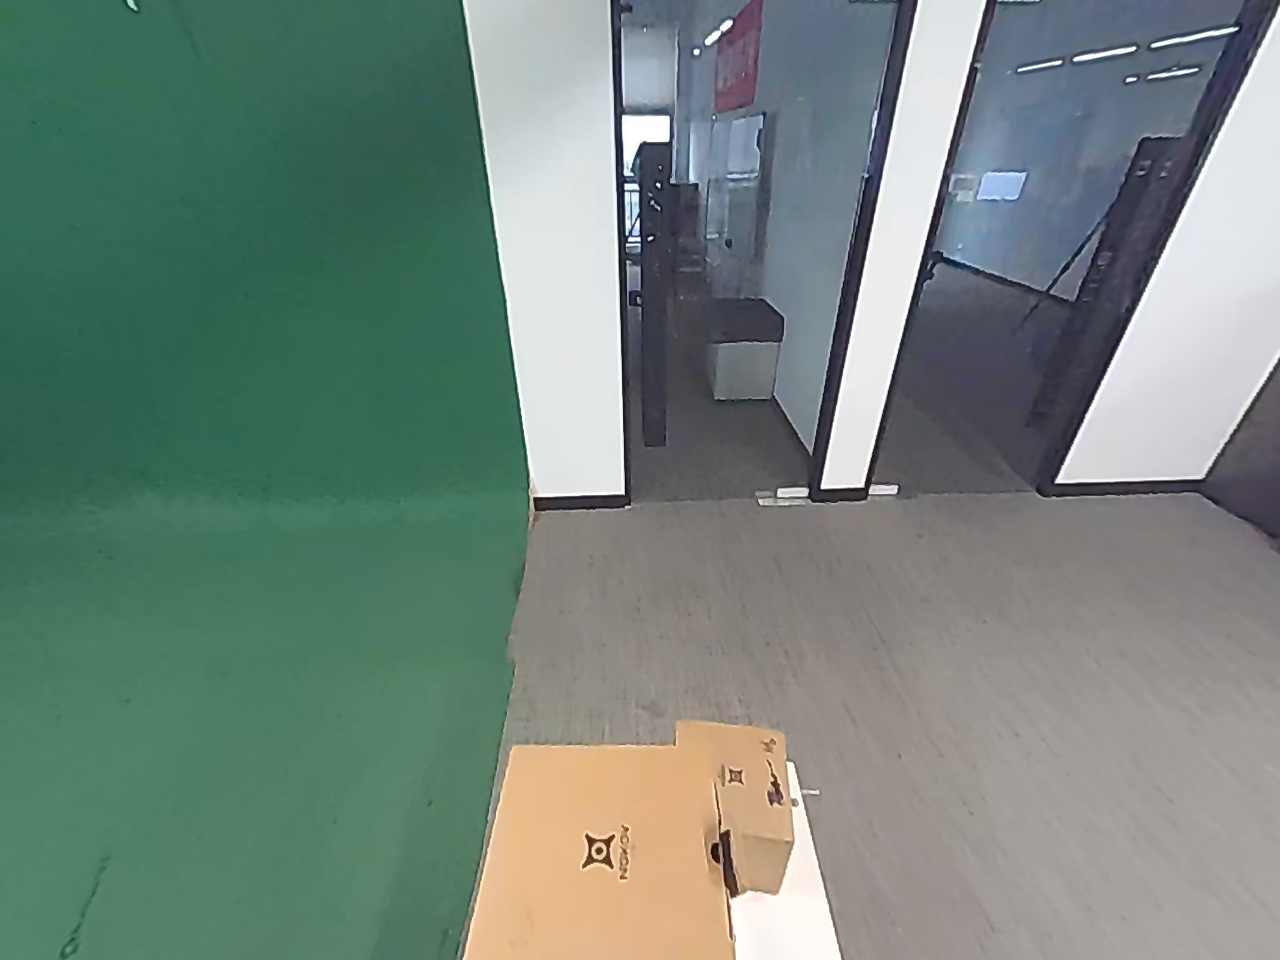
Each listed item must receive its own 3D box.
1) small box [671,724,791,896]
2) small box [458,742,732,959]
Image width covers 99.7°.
[{"bbox_3d":[0.131,0.512,0.843,0.179,0.176,0.168,3,32,7],"label":"small box"},{"bbox_3d":[-0.025,0.338,0.436,0.179,0.176,0.168,0,31,1],"label":"small box"}]
